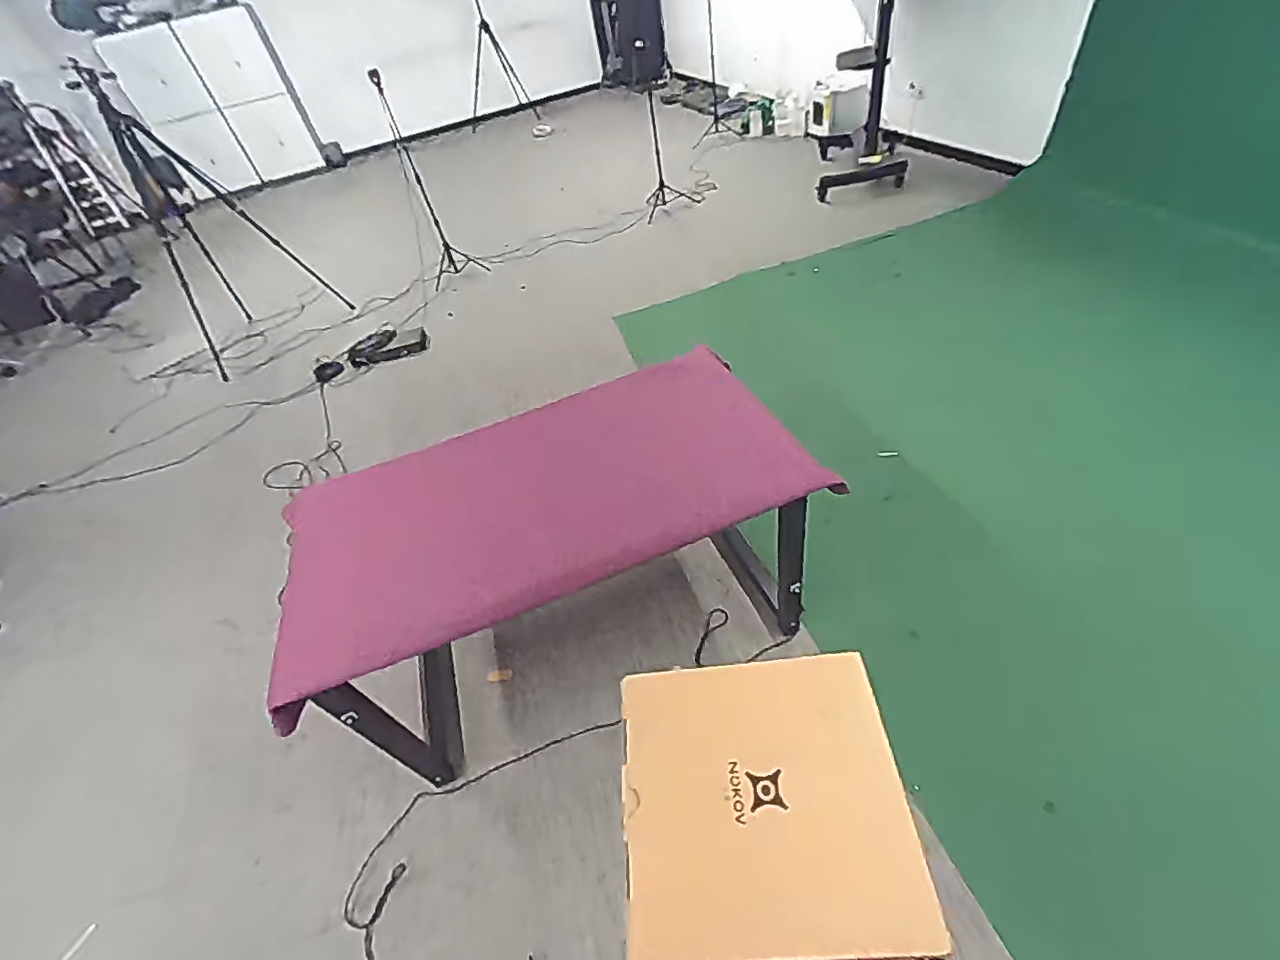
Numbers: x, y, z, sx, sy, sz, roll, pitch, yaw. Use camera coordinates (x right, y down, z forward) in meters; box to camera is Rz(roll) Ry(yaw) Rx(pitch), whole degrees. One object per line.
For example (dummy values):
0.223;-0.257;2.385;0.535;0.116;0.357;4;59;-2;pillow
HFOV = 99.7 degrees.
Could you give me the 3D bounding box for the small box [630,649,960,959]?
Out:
0.094;0.244;0.403;0.179;0.176;0.168;-9;48;6;small box
